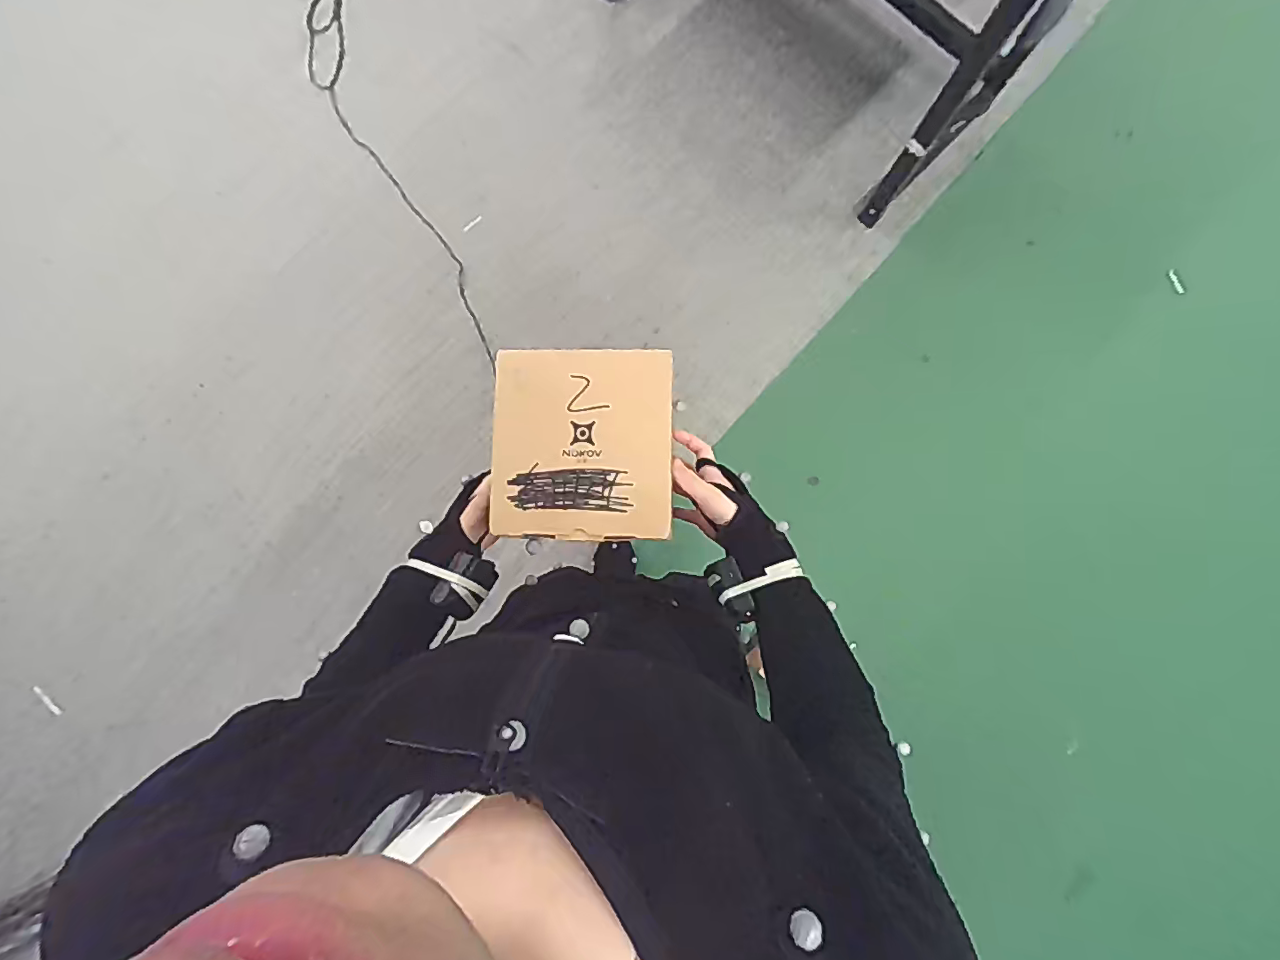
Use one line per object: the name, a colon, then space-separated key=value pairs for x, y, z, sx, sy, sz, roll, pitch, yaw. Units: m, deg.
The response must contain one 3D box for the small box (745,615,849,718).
small box: x=0.400 y=0.475 z=1.409 sx=0.168 sy=0.176 sz=0.179 roll=-45 pitch=85 yaw=-5
